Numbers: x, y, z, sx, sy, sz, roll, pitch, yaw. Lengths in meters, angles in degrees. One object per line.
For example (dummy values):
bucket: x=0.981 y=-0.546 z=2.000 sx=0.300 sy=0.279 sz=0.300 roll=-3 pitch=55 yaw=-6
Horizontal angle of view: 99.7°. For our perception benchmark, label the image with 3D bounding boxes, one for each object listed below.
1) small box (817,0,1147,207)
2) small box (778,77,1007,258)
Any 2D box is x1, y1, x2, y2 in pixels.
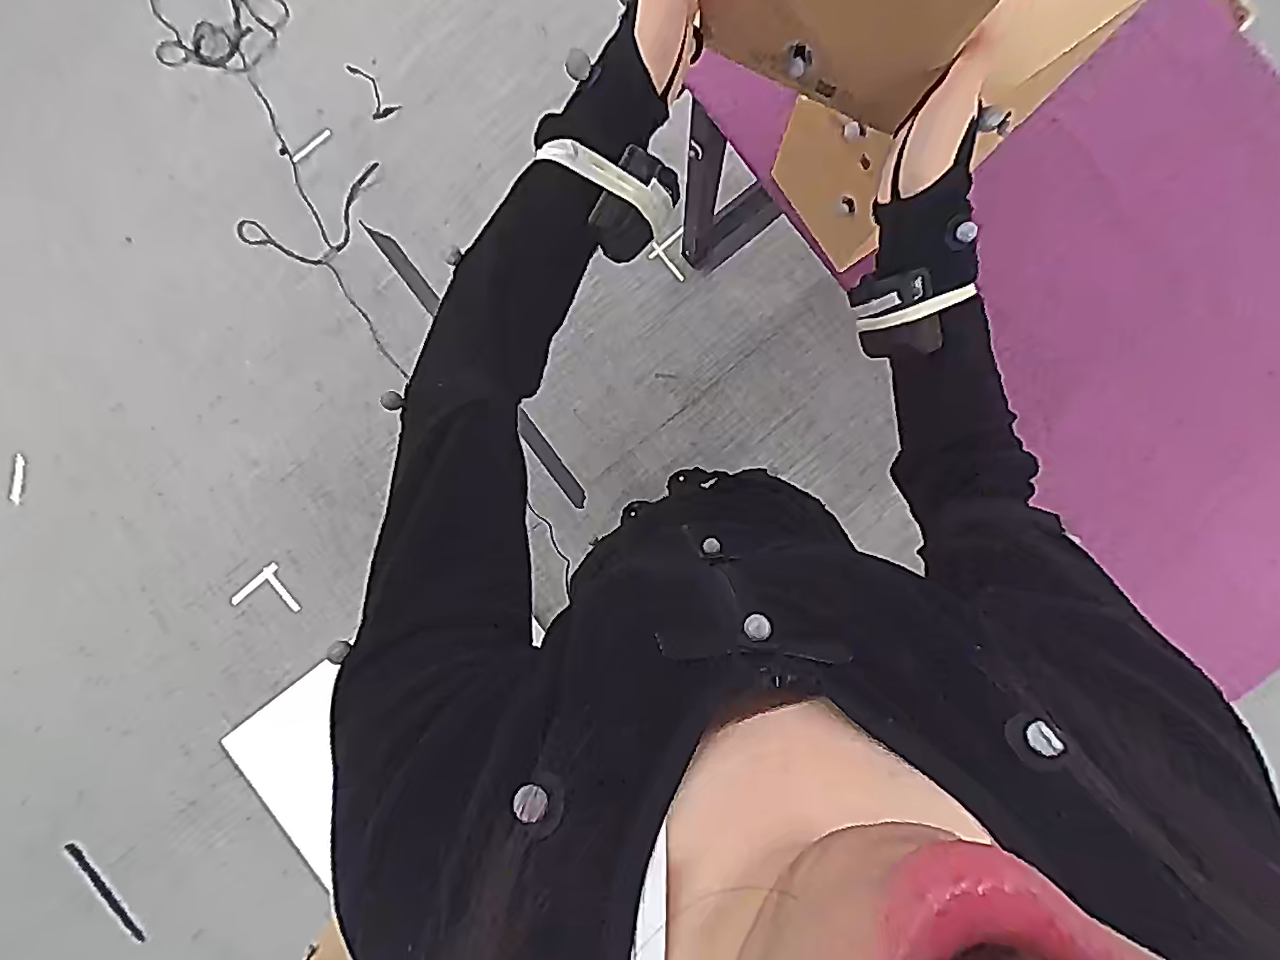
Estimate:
small box: x=0.302 y=-0.411 z=0.521 sx=0.179 sy=0.176 sz=0.168 roll=-35 pitch=89 yaw=4
small box: x=0.301 y=-0.410 z=0.685 sx=0.168 sy=0.176 sz=0.179 roll=-34 pitch=89 yaw=2
